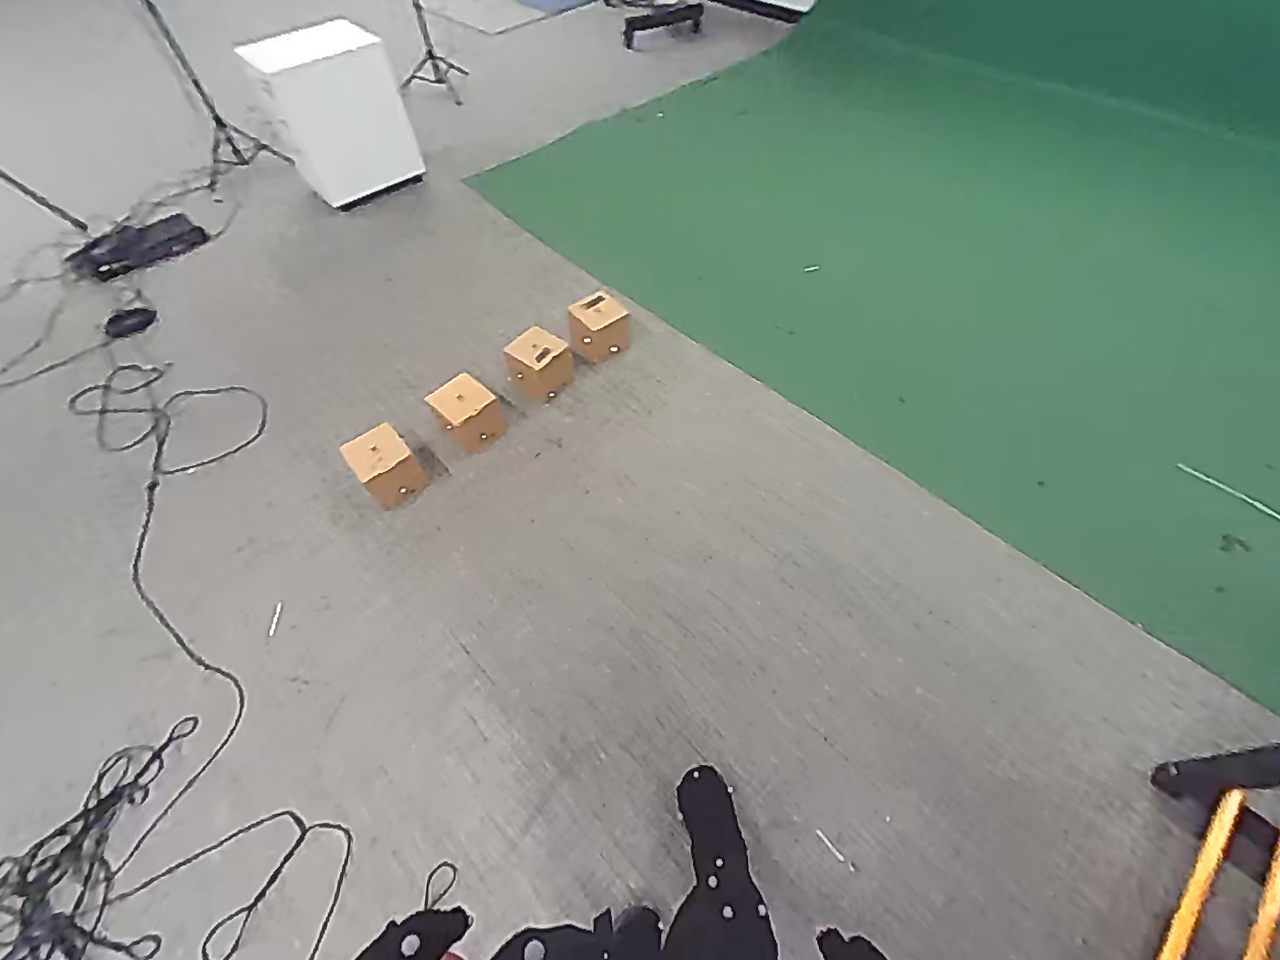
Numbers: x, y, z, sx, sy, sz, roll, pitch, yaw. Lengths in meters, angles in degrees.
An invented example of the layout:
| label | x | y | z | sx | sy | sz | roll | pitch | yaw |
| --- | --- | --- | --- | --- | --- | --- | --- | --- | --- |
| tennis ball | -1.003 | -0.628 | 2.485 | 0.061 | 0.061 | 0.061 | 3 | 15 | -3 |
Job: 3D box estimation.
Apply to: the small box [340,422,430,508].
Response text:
| label | x | y | z | sx | sy | sz | roll | pitch | yaw |
| --- | --- | --- | --- | --- | --- | --- | --- | --- | --- |
| small box | -0.799 | -0.044 | 1.706 | 0.168 | 0.176 | 0.179 | -37 | 62 | -20 |

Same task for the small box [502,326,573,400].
| label | x | y | z | sx | sy | sz | roll | pitch | yaw |
| --- | --- | --- | --- | --- | --- | --- | --- | --- | --- |
| small box | -0.362 | -0.417 | 1.949 | 0.179 | 0.176 | 0.168 | 32 | 62 | 22 |

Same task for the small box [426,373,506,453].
| label | x | y | z | sx | sy | sz | roll | pitch | yaw |
| --- | --- | --- | --- | --- | --- | --- | --- | --- | --- |
| small box | -0.581 | -0.223 | 1.823 | 0.179 | 0.176 | 0.168 | 37 | 64 | 22 |
